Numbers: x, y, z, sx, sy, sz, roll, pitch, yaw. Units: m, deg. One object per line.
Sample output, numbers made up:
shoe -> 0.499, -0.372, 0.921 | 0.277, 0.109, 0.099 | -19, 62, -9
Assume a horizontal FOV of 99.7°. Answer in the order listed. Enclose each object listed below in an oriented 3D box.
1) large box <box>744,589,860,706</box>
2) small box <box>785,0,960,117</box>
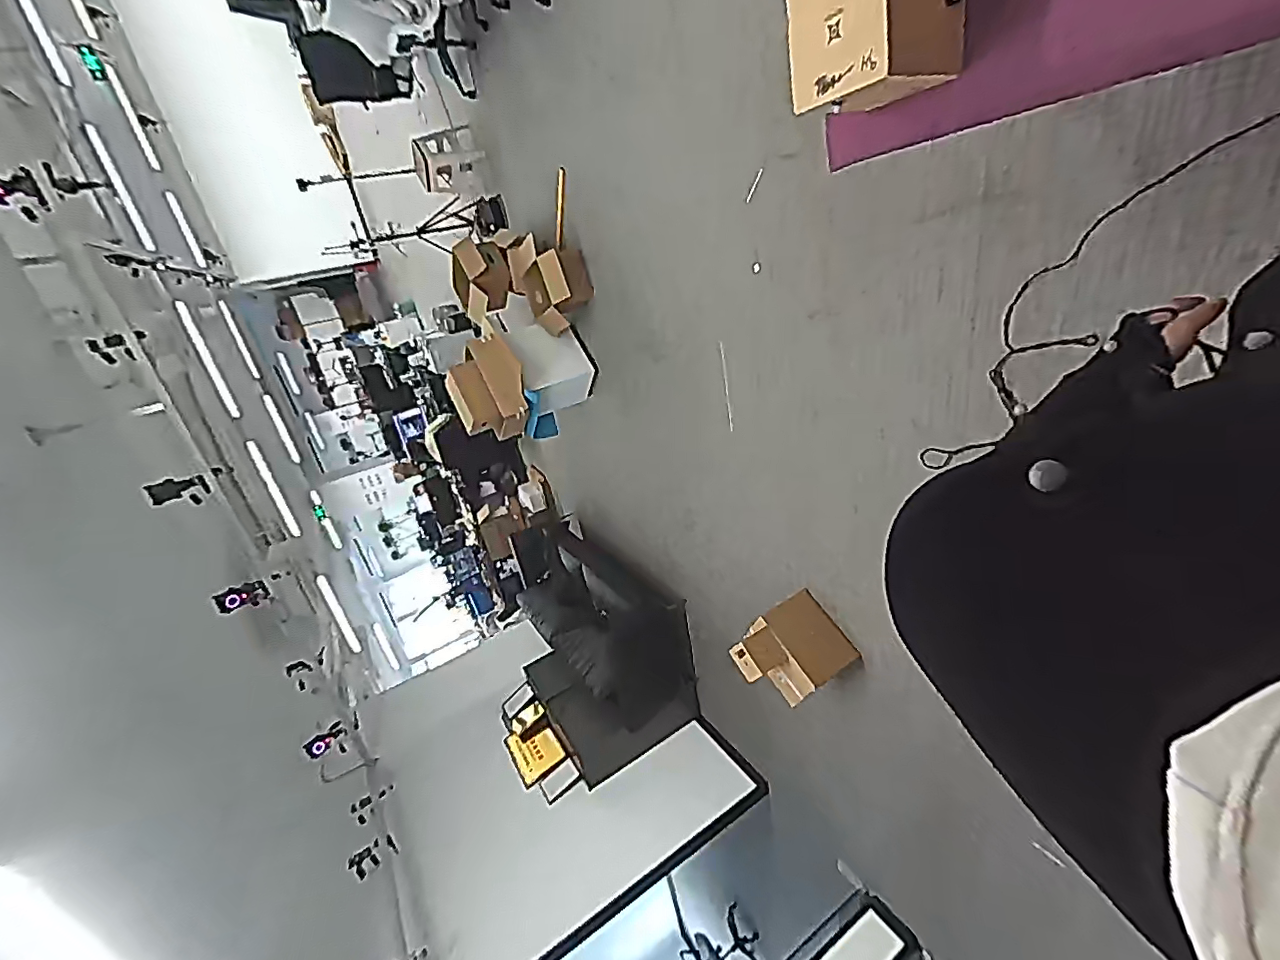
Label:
large box -> 0.799, 0.833, 2.710 | 0.408, 0.320, 0.320 | 52, 153, 27
small box -> 0.329, -0.642, 0.771 | 0.168, 0.176, 0.179 | 27, 133, 56
